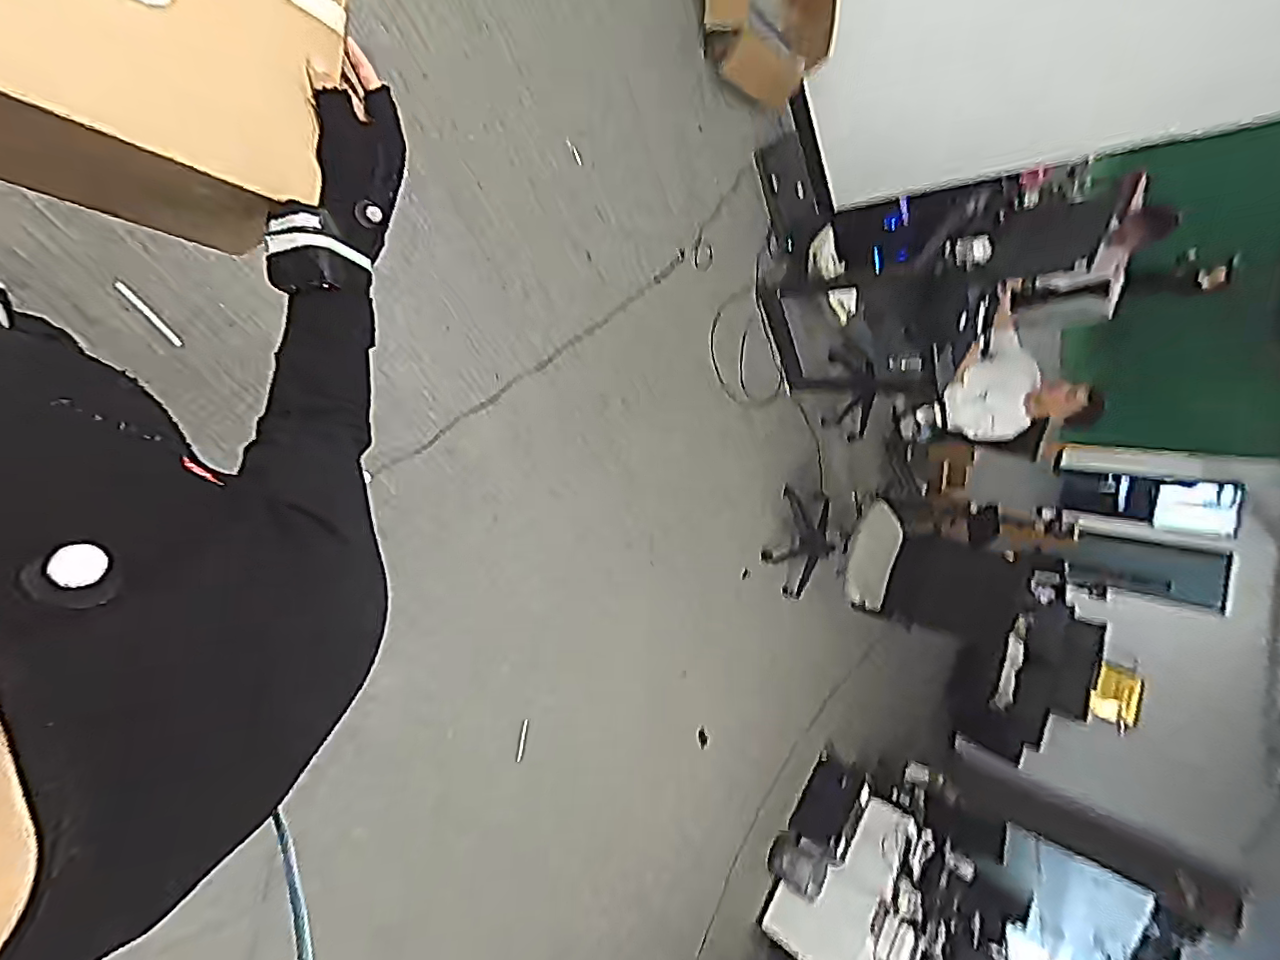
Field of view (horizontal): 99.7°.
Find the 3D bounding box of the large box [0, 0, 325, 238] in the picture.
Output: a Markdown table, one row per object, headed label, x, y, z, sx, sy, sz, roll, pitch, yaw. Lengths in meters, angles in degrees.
| label | x | y | z | sx | sy | sz | roll | pitch | yaw |
| --- | --- | --- | --- | --- | --- | --- | --- | --- | --- |
| large box | -0.510 | -0.428 | 0.411 | 0.408 | 0.320 | 0.320 | 5 | 97 | -47 |
